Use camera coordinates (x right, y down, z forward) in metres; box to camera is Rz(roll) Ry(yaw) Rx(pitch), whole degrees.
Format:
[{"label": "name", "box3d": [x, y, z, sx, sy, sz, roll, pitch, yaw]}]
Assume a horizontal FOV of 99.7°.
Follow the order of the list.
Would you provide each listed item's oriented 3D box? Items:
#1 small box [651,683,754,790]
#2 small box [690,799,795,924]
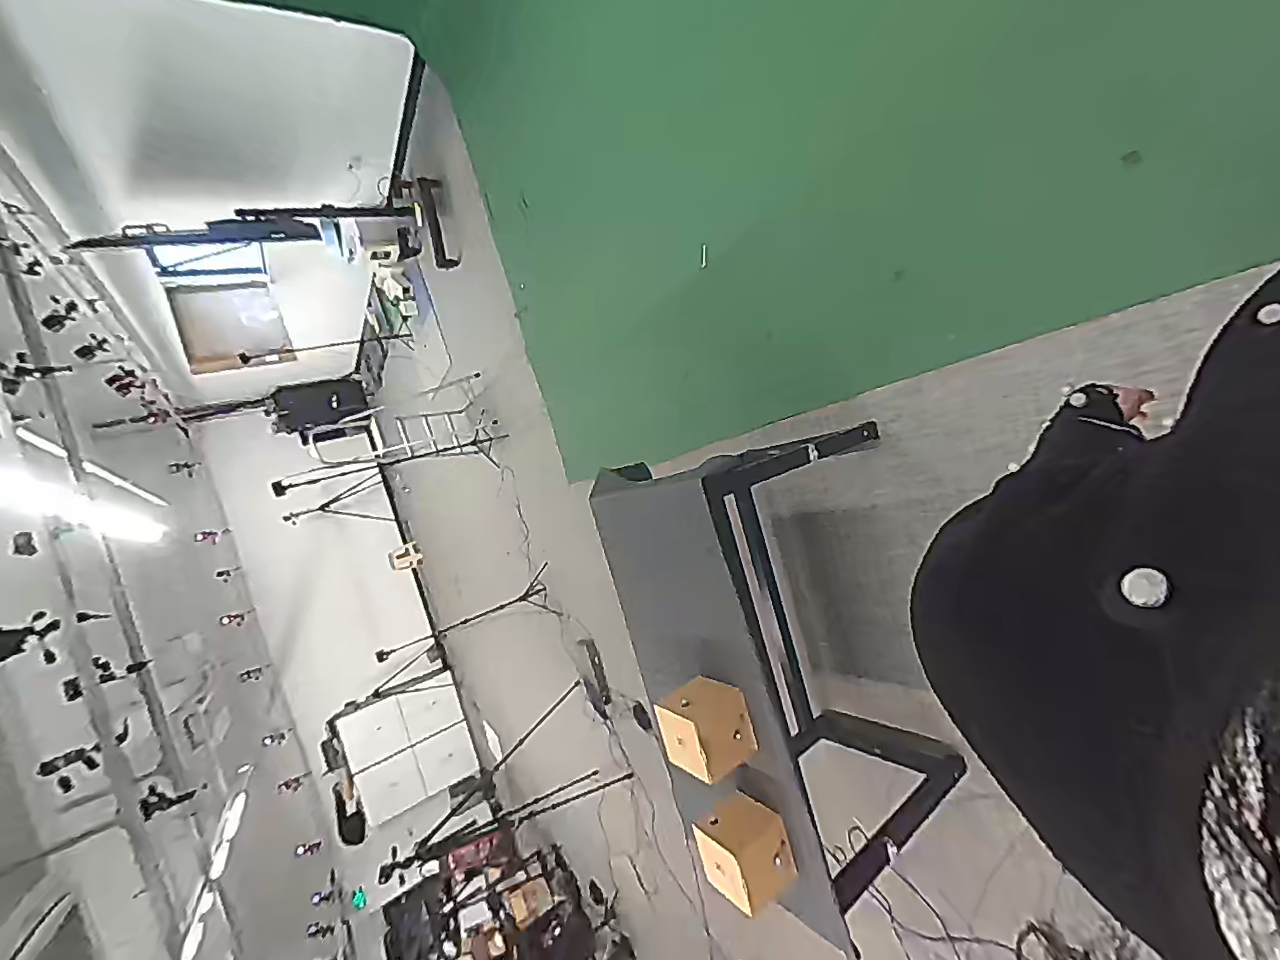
[{"label": "small box", "box3d": [0.159, 0.640, 1.378, 0.179, 0.176, 0.168, -12, 95, 56]}, {"label": "small box", "box3d": [0.261, 0.956, 1.379, 0.179, 0.176, 0.168, -10, 98, 57]}]
